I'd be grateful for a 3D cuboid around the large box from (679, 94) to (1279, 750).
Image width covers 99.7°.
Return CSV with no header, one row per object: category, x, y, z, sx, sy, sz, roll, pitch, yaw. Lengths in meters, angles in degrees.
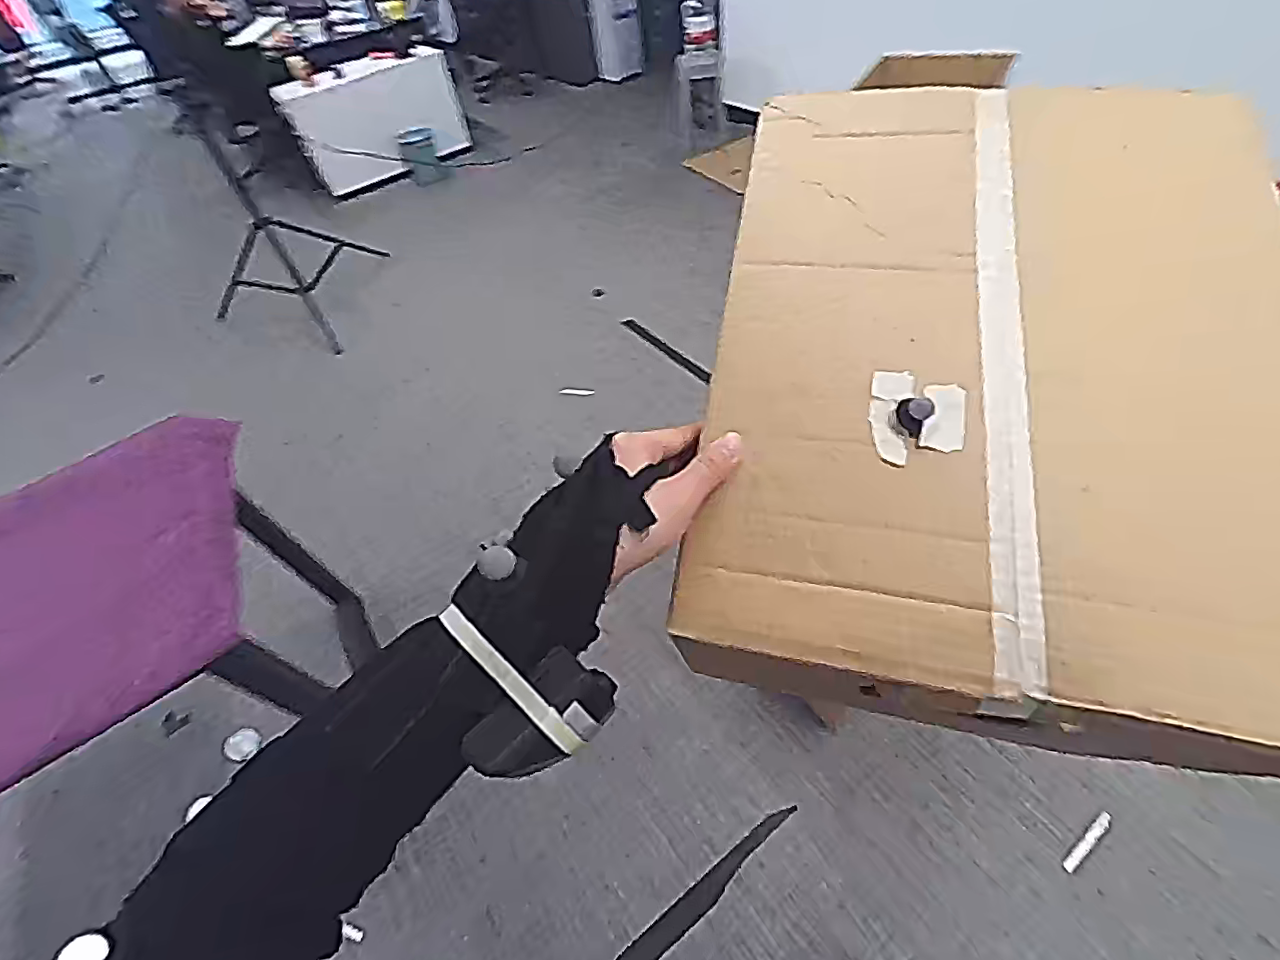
large box,0.219,-0.032,0.451,0.320,0.320,0.408,7,69,12
